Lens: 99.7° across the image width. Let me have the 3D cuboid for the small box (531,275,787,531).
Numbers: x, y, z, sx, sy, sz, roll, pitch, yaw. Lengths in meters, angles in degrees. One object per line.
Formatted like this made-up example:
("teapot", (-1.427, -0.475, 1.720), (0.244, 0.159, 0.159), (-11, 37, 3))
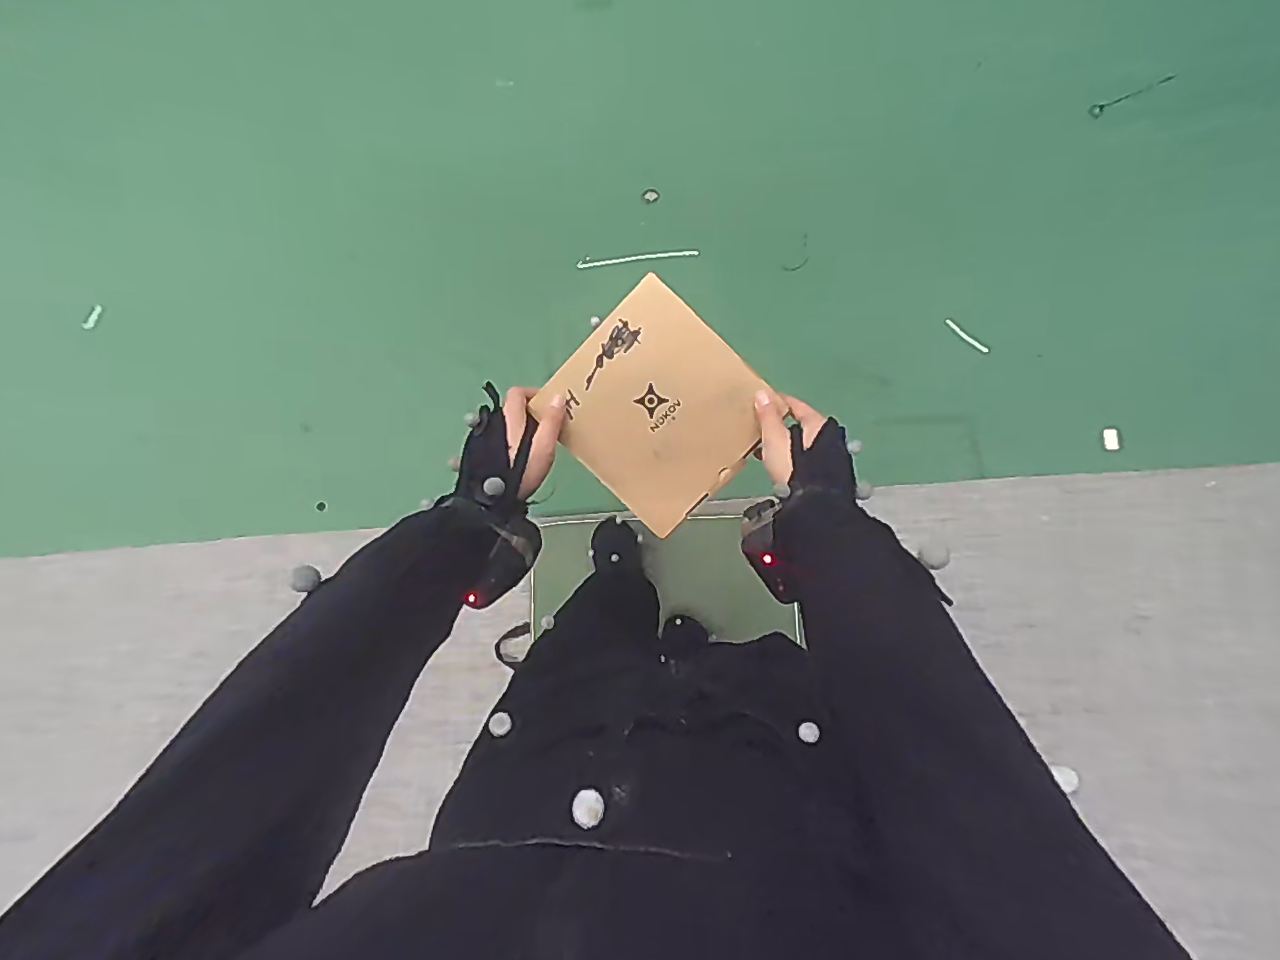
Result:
("small box", (0.019, -0.076, 0.568), (0.179, 0.176, 0.168), (44, 94, -2))
